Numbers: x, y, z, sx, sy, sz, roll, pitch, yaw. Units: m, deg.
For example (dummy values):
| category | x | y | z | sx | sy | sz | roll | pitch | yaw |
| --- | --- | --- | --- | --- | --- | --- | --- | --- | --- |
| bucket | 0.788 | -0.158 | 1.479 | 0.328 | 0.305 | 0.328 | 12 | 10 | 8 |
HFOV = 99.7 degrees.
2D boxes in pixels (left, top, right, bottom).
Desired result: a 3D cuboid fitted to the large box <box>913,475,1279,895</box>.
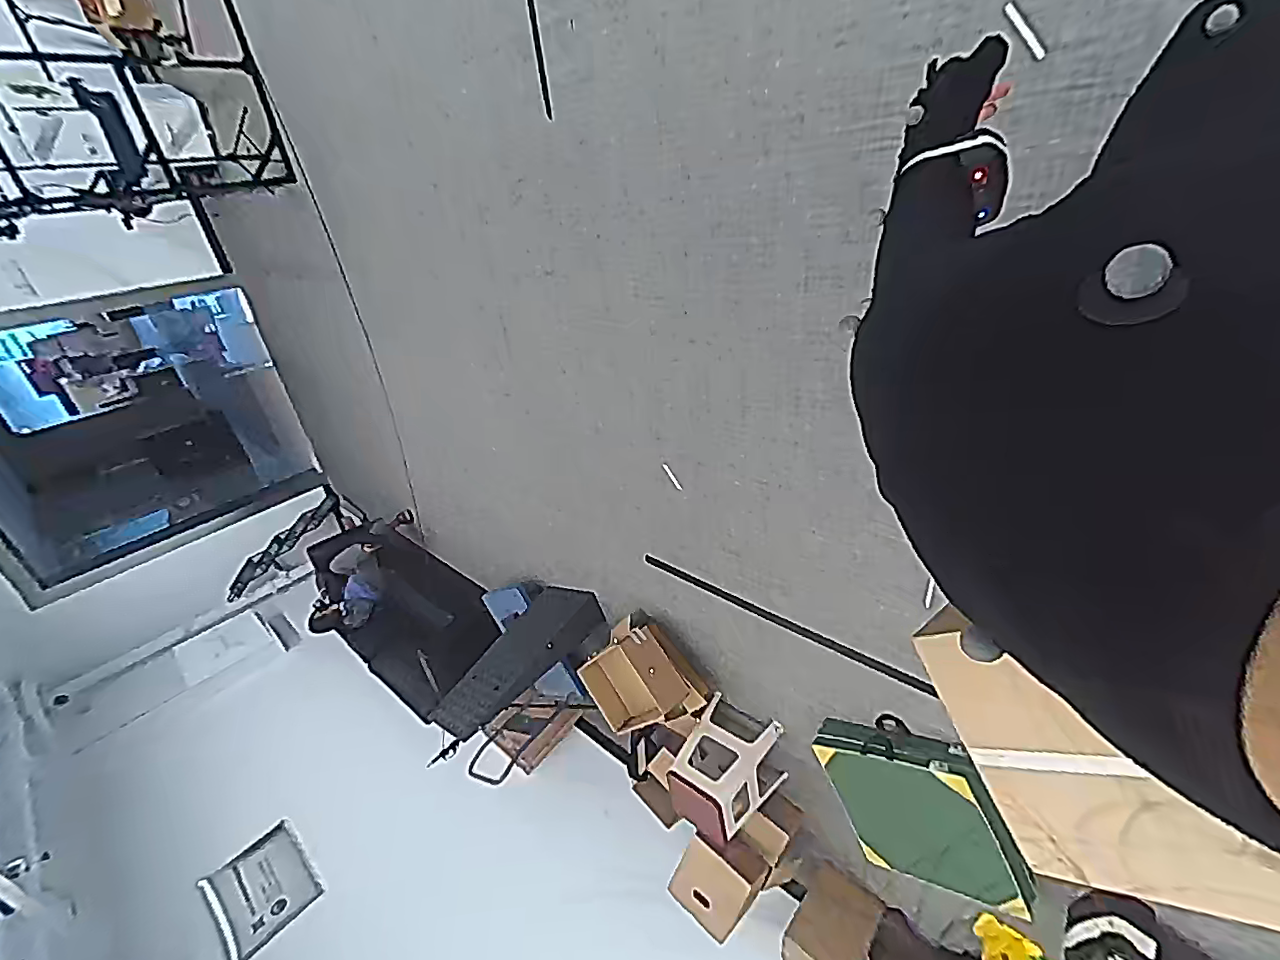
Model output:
| category | x | y | z | sx | sy | sz | roll | pitch | yaw |
| --- | --- | --- | --- | --- | --- | --- | --- | --- | --- |
| large box | 0.628 | 0.214 | 0.623 | 0.408 | 0.320 | 0.320 | -34 | 79 | 53 |
